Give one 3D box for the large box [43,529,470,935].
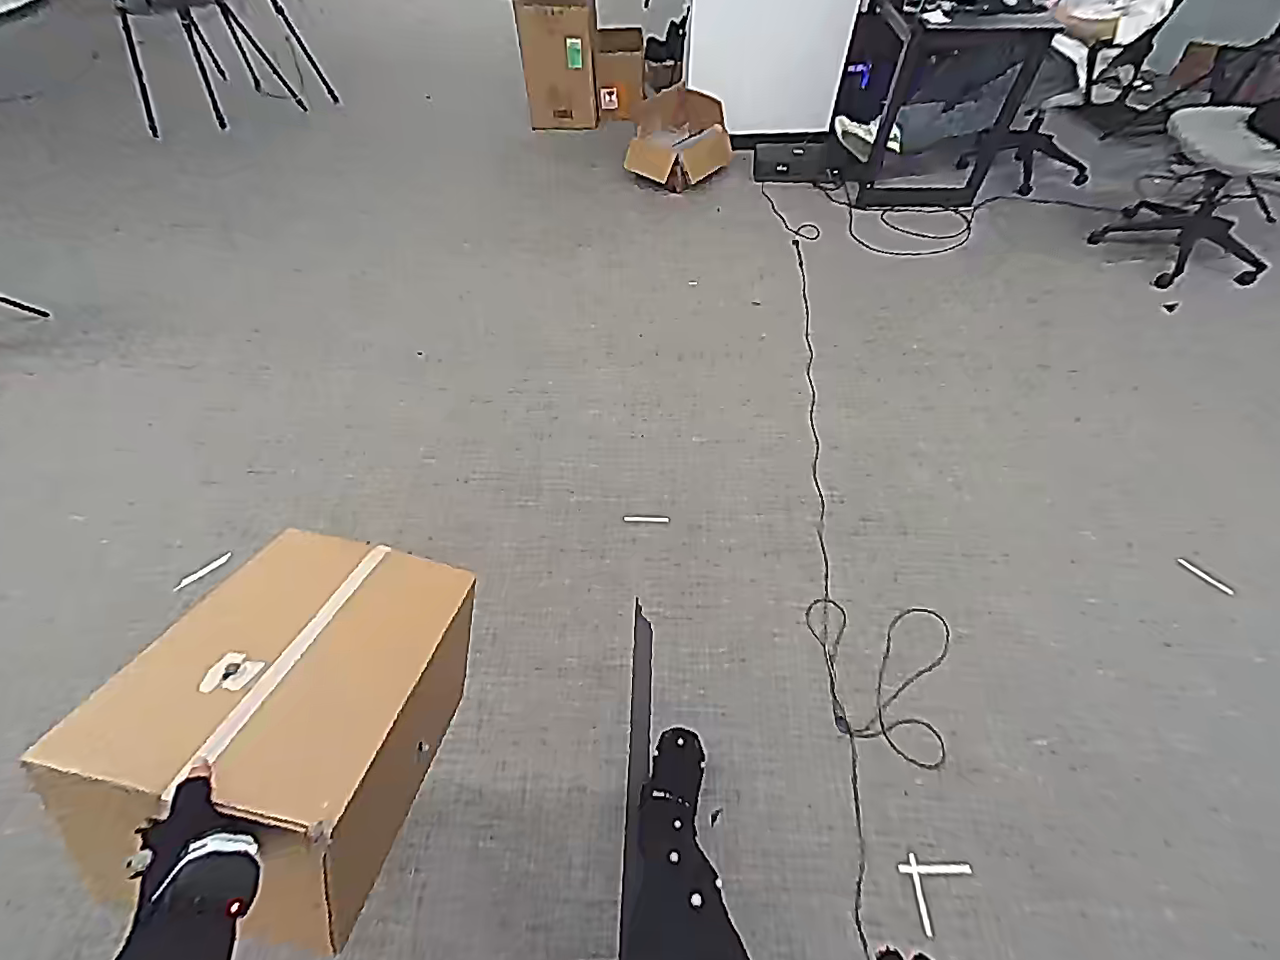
[{"bbox_3d":[-0.480,0.342,0.797,0.320,0.320,0.408,15,32,-2],"label":"large box"}]
